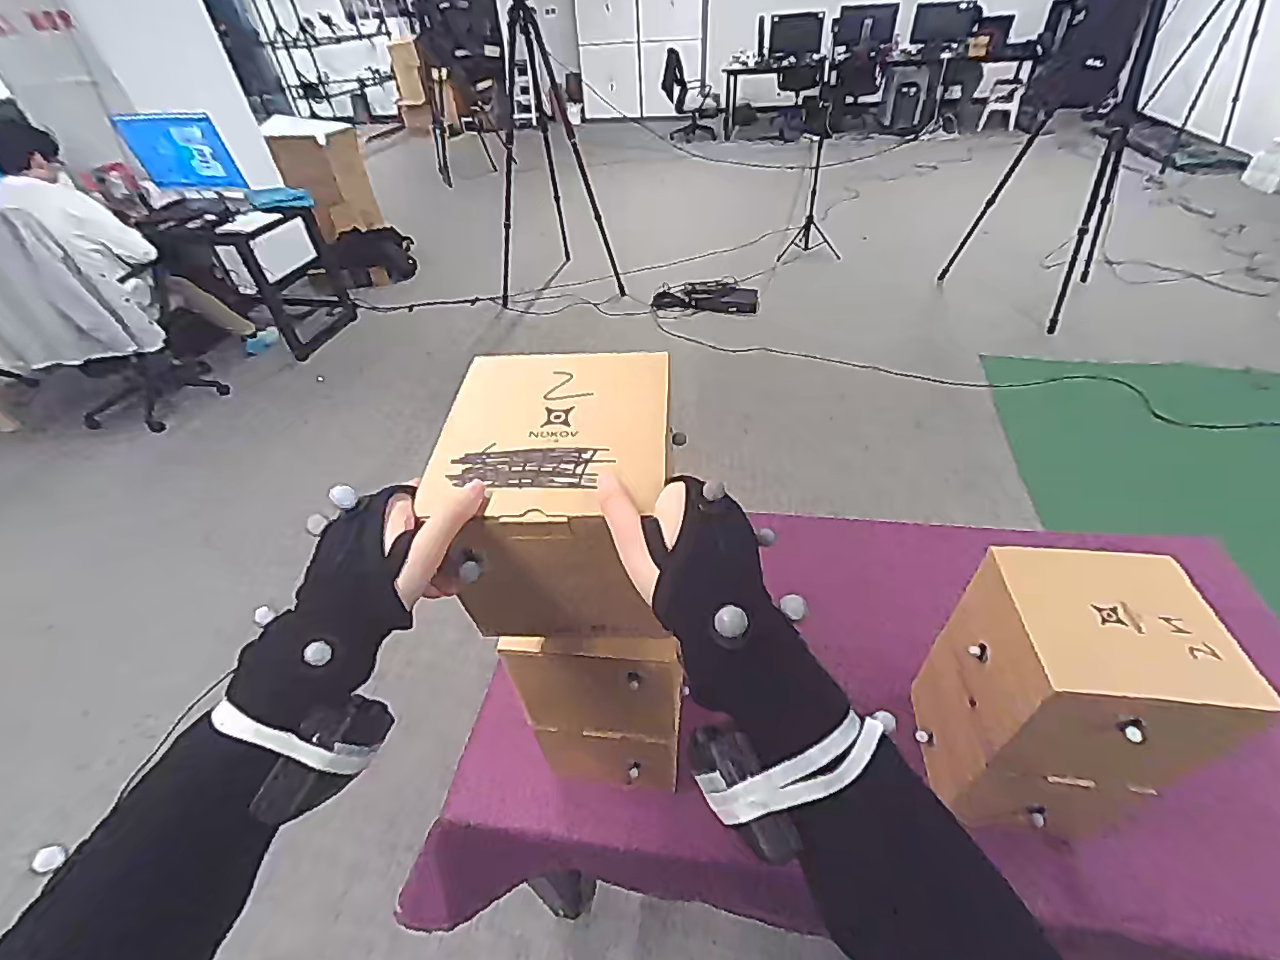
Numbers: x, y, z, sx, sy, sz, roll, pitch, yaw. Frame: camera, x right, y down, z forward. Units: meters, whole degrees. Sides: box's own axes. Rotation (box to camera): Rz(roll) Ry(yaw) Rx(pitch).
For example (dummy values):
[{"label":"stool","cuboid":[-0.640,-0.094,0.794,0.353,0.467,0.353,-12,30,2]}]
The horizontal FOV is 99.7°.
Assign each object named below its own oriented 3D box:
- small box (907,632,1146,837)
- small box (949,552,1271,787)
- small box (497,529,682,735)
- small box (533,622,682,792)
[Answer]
[{"label":"small box","cuboid":[0.455,0.318,0.675,0.168,0.176,0.179,4,43,9]},{"label":"small box","cuboid":[0.447,0.196,0.562,0.179,0.176,0.168,4,43,8]},{"label":"small box","cuboid":[-0.043,0.177,0.629,0.179,0.176,0.168,3,42,5]},{"label":"small box","cuboid":[-0.031,0.298,0.736,0.168,0.176,0.179,4,42,7]}]
